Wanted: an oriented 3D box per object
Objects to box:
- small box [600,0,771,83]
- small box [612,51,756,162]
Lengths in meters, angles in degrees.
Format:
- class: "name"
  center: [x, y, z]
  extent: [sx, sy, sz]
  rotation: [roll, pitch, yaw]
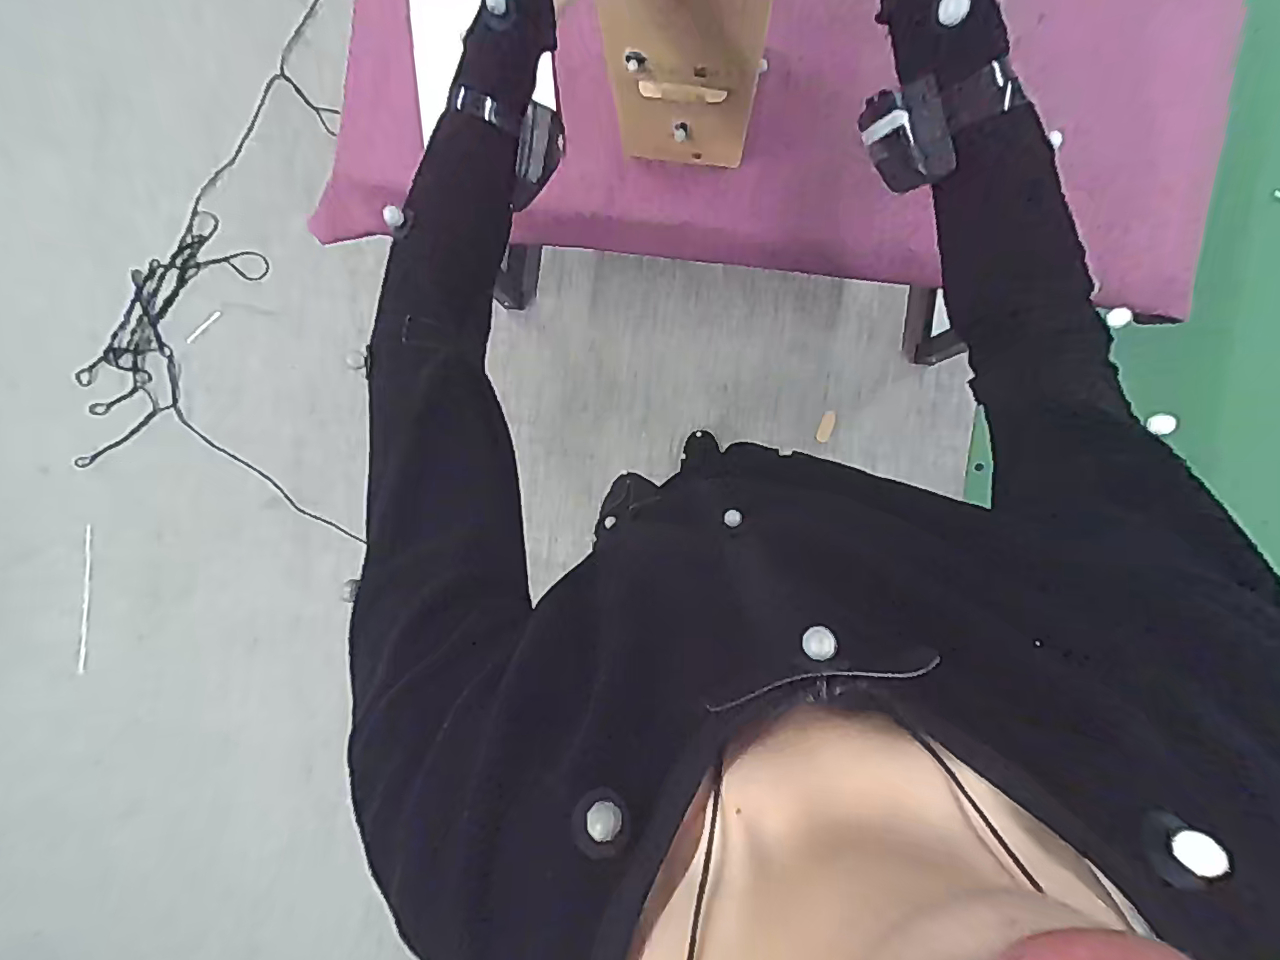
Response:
- class: "small box"
  center: [0.054, -0.528, 0.521]
  extent: [0.168, 0.176, 0.179]
  rotation: [9, 91, 4]
- class: "small box"
  center: [0.066, -0.538, 0.686]
  extent: [0.168, 0.176, 0.179]
  rotation: [9, 93, 3]
